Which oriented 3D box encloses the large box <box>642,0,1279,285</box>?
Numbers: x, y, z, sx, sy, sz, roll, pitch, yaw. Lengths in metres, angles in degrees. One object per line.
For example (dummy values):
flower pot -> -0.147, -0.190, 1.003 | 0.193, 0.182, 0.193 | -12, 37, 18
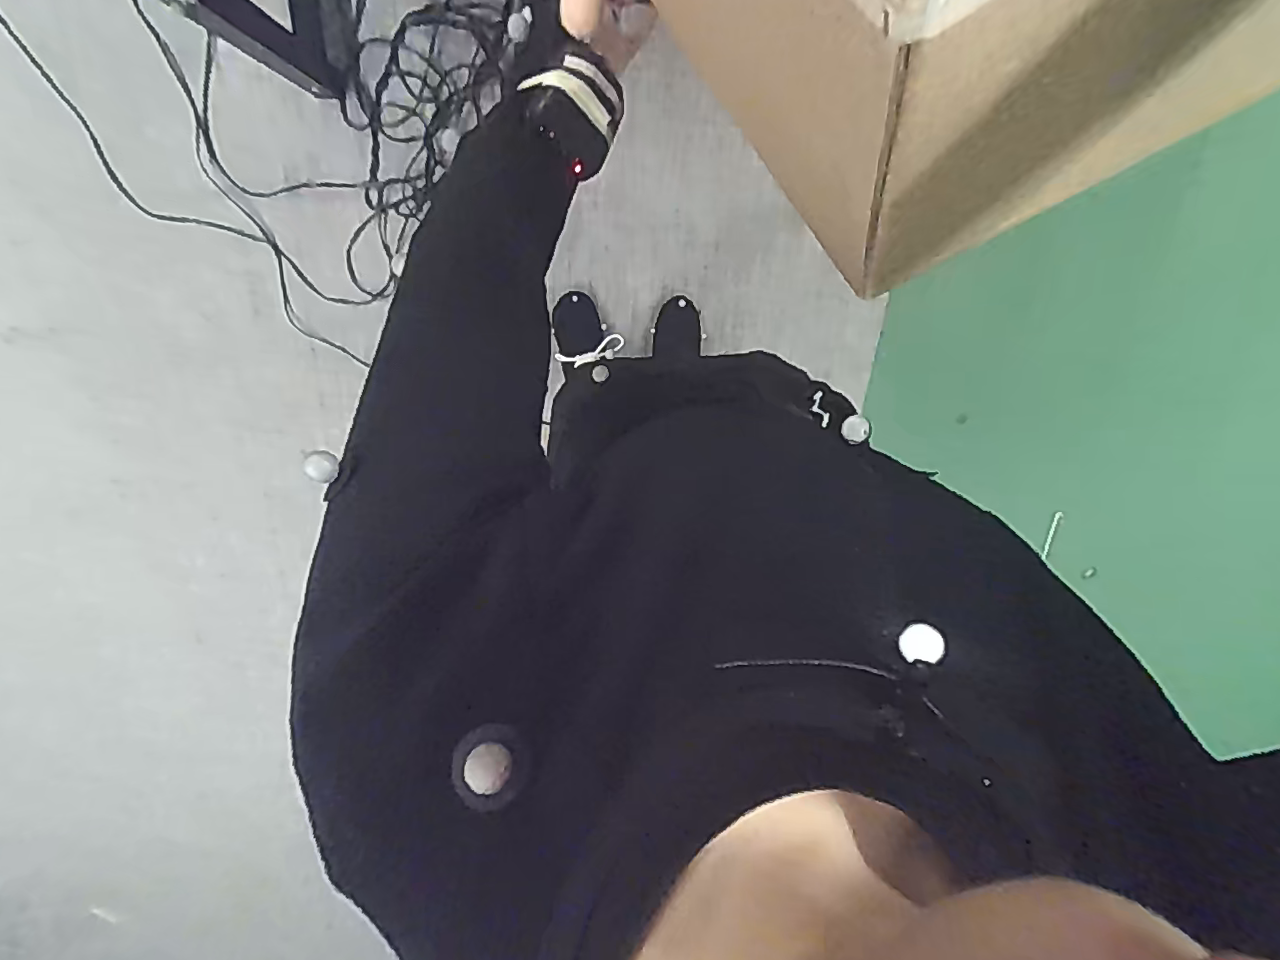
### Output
large box -> 0.131, -0.373, 0.205 | 0.320, 0.320, 0.408 | -29, 70, 7
